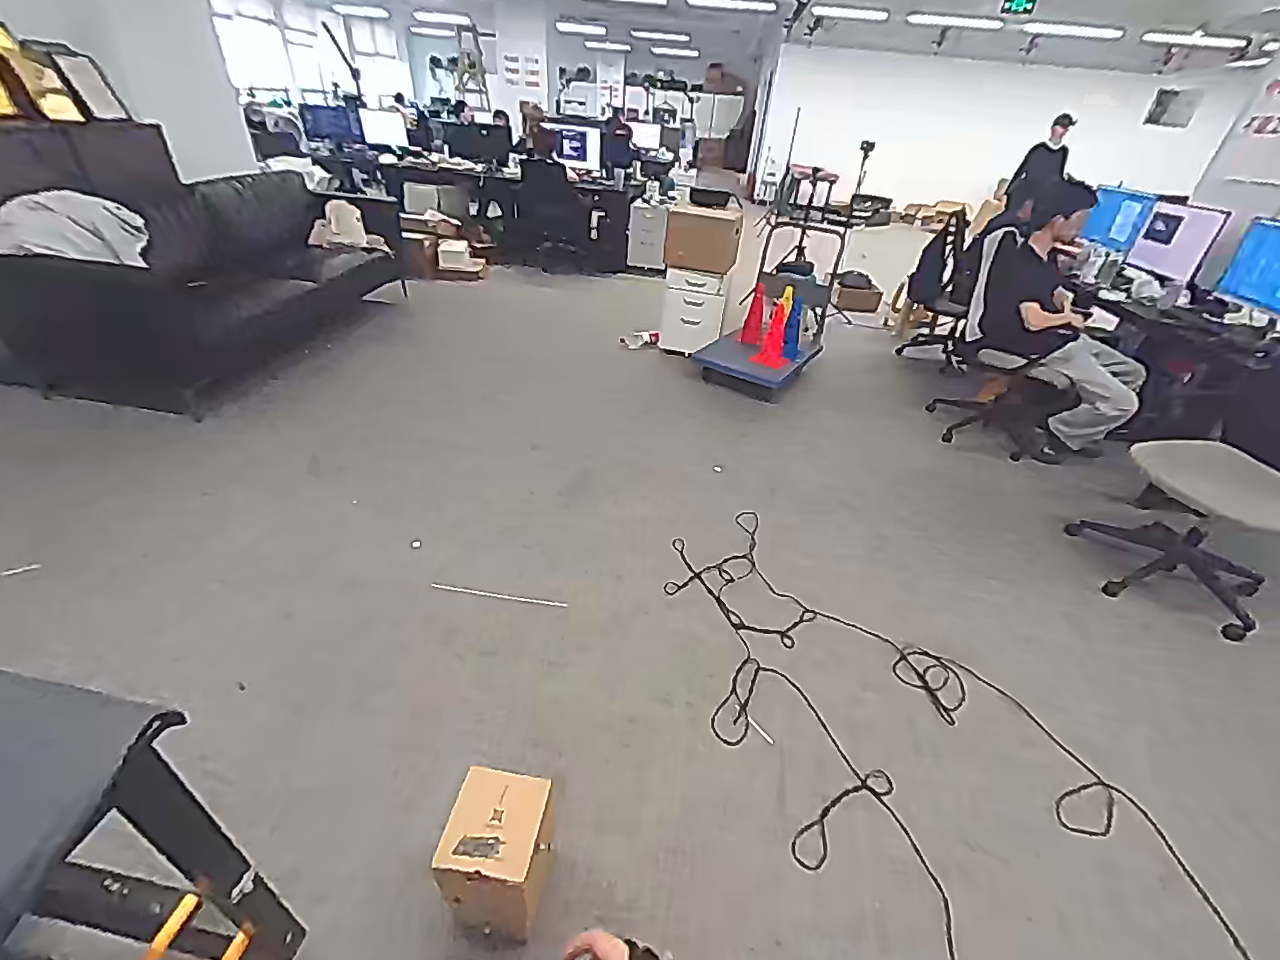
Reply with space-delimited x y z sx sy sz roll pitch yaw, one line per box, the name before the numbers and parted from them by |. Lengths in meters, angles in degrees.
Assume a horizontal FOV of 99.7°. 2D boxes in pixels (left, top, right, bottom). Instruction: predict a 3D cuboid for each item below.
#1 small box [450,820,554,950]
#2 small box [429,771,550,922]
small box | -0.282 0.814 1.113 0.168 0.176 0.179 9 33 6
small box | -0.268 0.686 1.012 0.168 0.176 0.179 8 33 4
